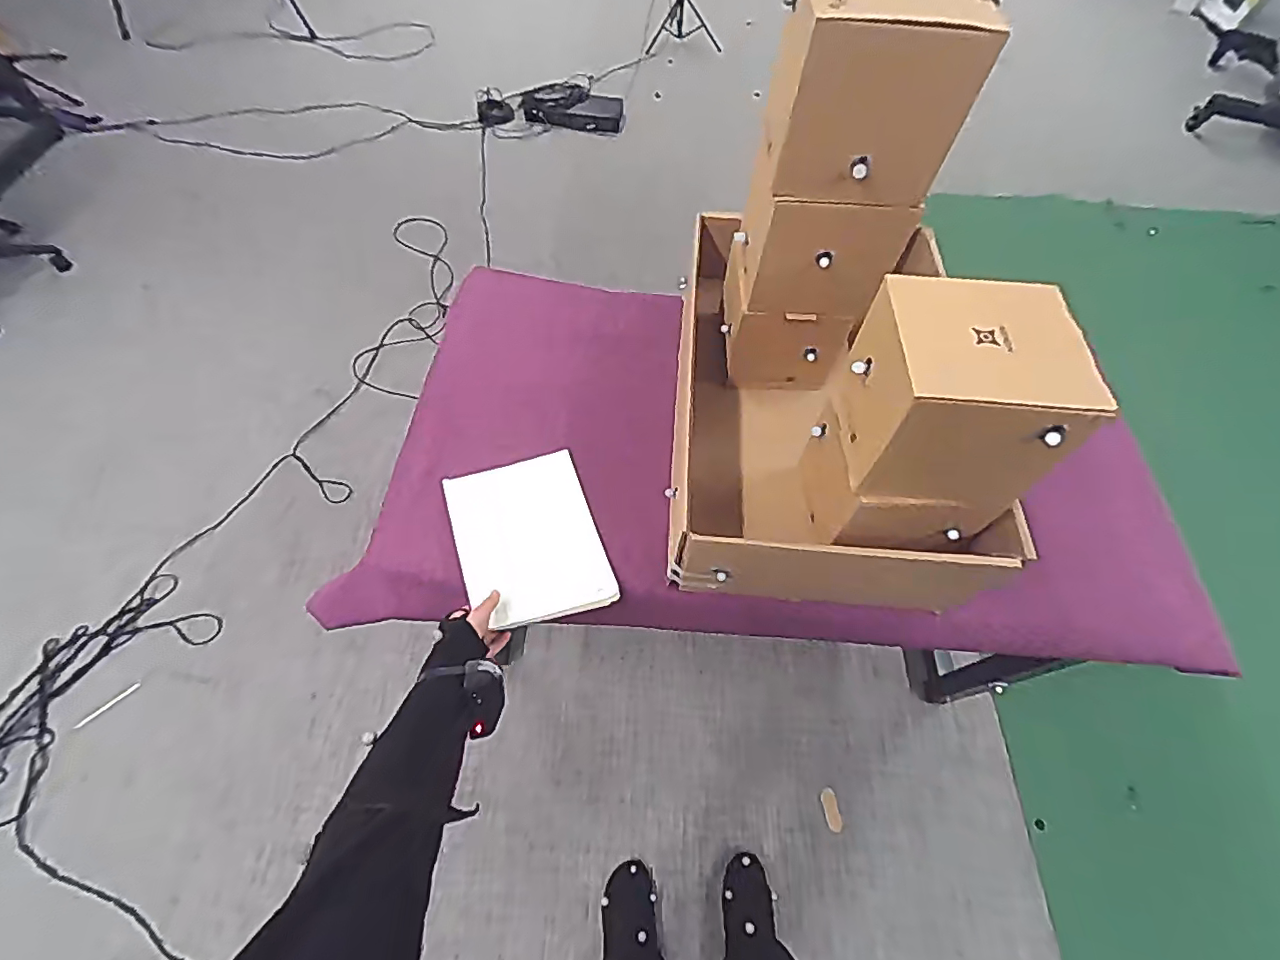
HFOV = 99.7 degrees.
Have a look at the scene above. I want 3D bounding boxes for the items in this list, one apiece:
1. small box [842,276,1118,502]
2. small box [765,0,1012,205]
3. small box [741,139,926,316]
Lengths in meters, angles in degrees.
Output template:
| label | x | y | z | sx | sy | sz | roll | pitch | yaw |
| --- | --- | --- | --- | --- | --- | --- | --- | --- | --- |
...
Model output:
| label | x | y | z | sx | sy | sz | roll | pitch | yaw |
| --- | --- | --- | --- | --- | --- | --- | --- | --- | --- |
| small box | 0.328 | -0.089 | 0.573 | 0.179 | 0.176 | 0.168 | 5 | 58 | 1 |
| small box | 0.245 | -0.425 | 0.584 | 0.179 | 0.176 | 0.168 | 5 | 60 | -1 |
| small box | 0.242 | -0.340 | 0.725 | 0.179 | 0.176 | 0.168 | 2 | 60 | -1 |
